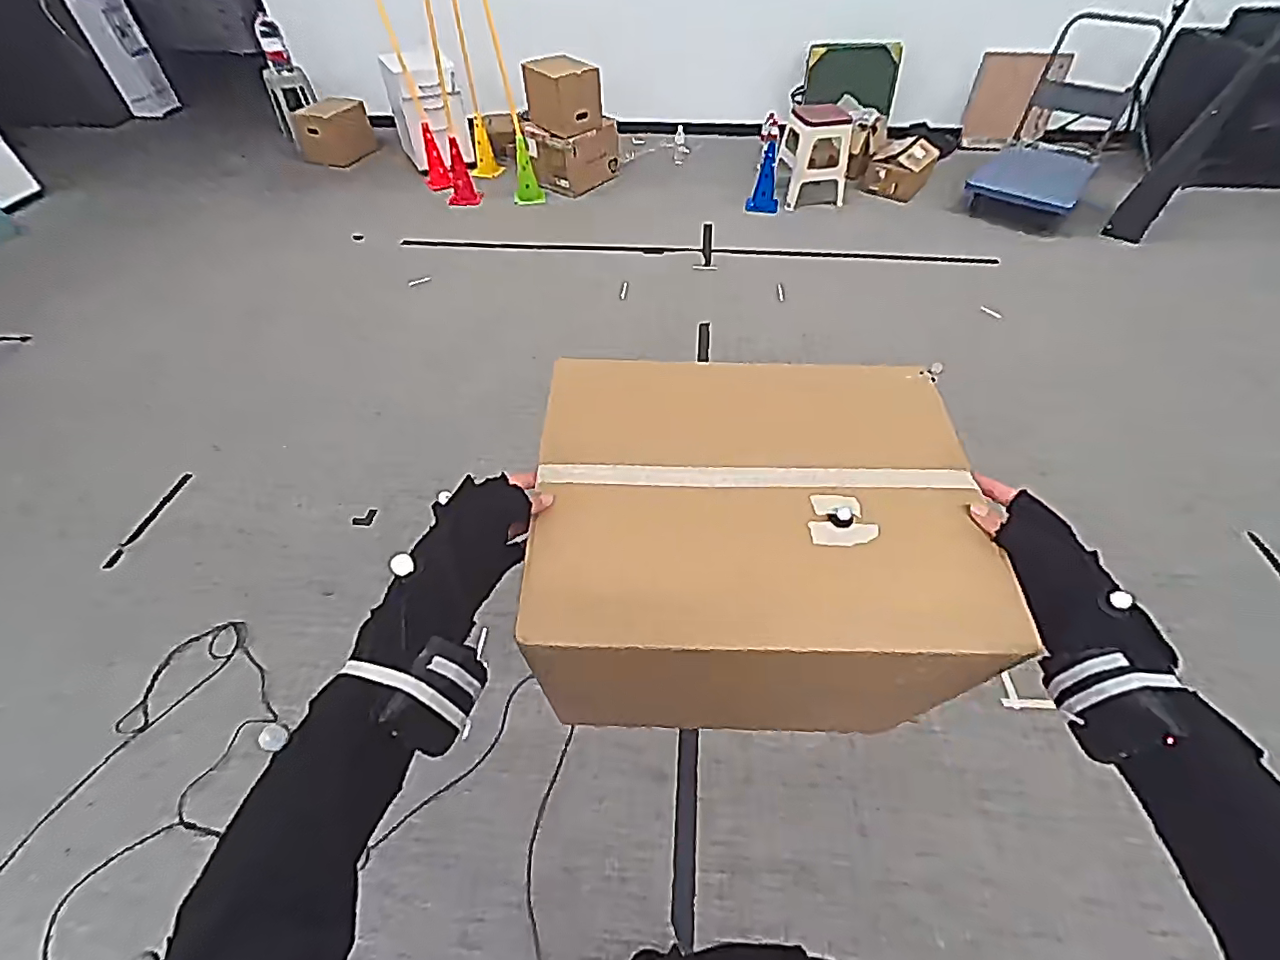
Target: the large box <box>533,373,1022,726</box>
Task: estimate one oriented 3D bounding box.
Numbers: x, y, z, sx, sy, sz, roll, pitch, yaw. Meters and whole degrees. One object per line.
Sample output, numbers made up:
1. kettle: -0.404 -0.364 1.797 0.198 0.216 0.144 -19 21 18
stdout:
1. large box: 0.106 0.092 0.636 0.408 0.320 0.320 1 56 -1
